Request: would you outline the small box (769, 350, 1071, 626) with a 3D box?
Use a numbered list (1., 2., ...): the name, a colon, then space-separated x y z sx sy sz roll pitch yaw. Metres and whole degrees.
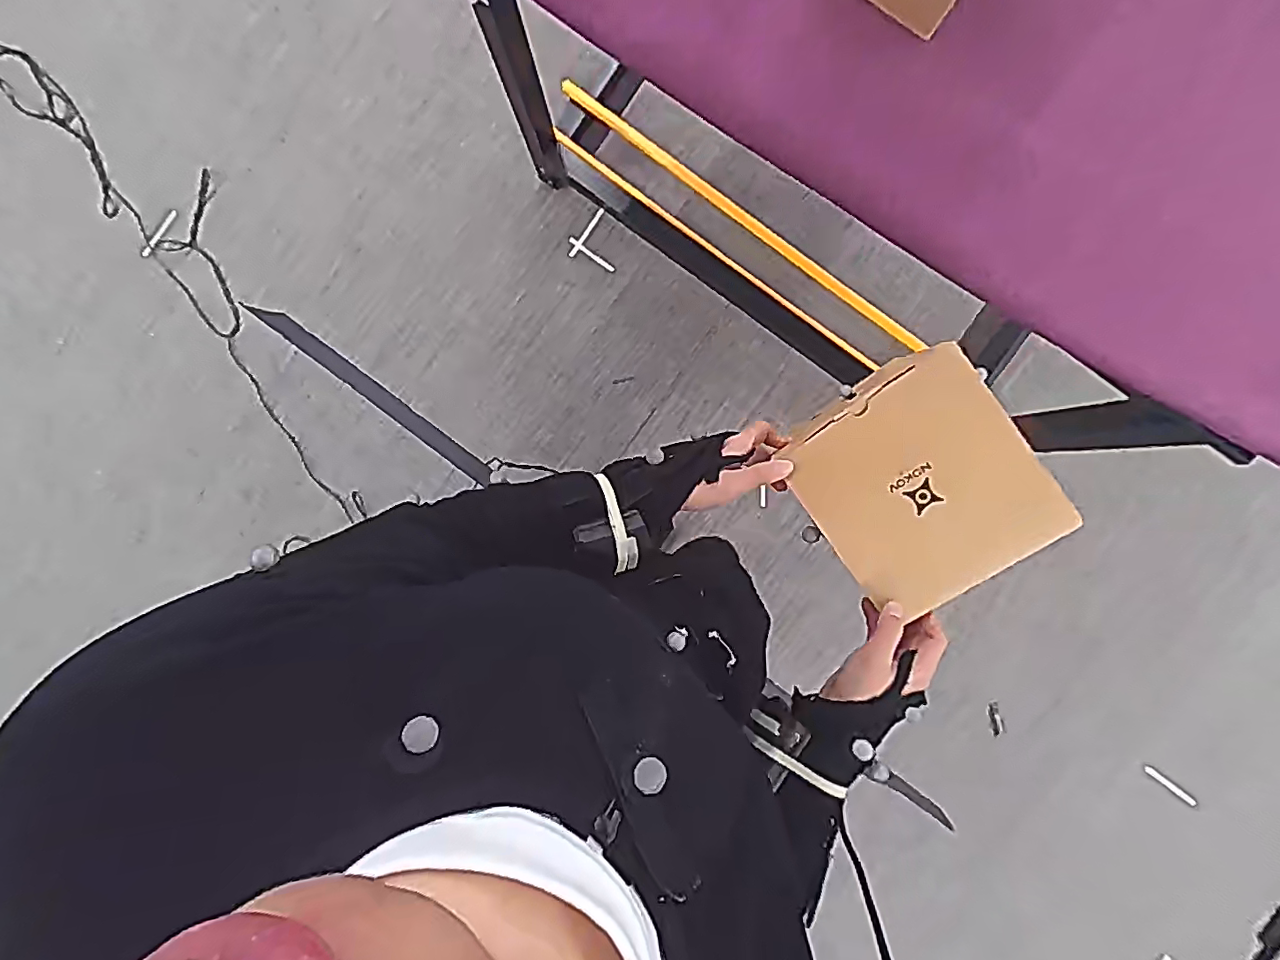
1. small box: 0.240 0.001 0.514 0.168 0.176 0.179 -35 88 14
